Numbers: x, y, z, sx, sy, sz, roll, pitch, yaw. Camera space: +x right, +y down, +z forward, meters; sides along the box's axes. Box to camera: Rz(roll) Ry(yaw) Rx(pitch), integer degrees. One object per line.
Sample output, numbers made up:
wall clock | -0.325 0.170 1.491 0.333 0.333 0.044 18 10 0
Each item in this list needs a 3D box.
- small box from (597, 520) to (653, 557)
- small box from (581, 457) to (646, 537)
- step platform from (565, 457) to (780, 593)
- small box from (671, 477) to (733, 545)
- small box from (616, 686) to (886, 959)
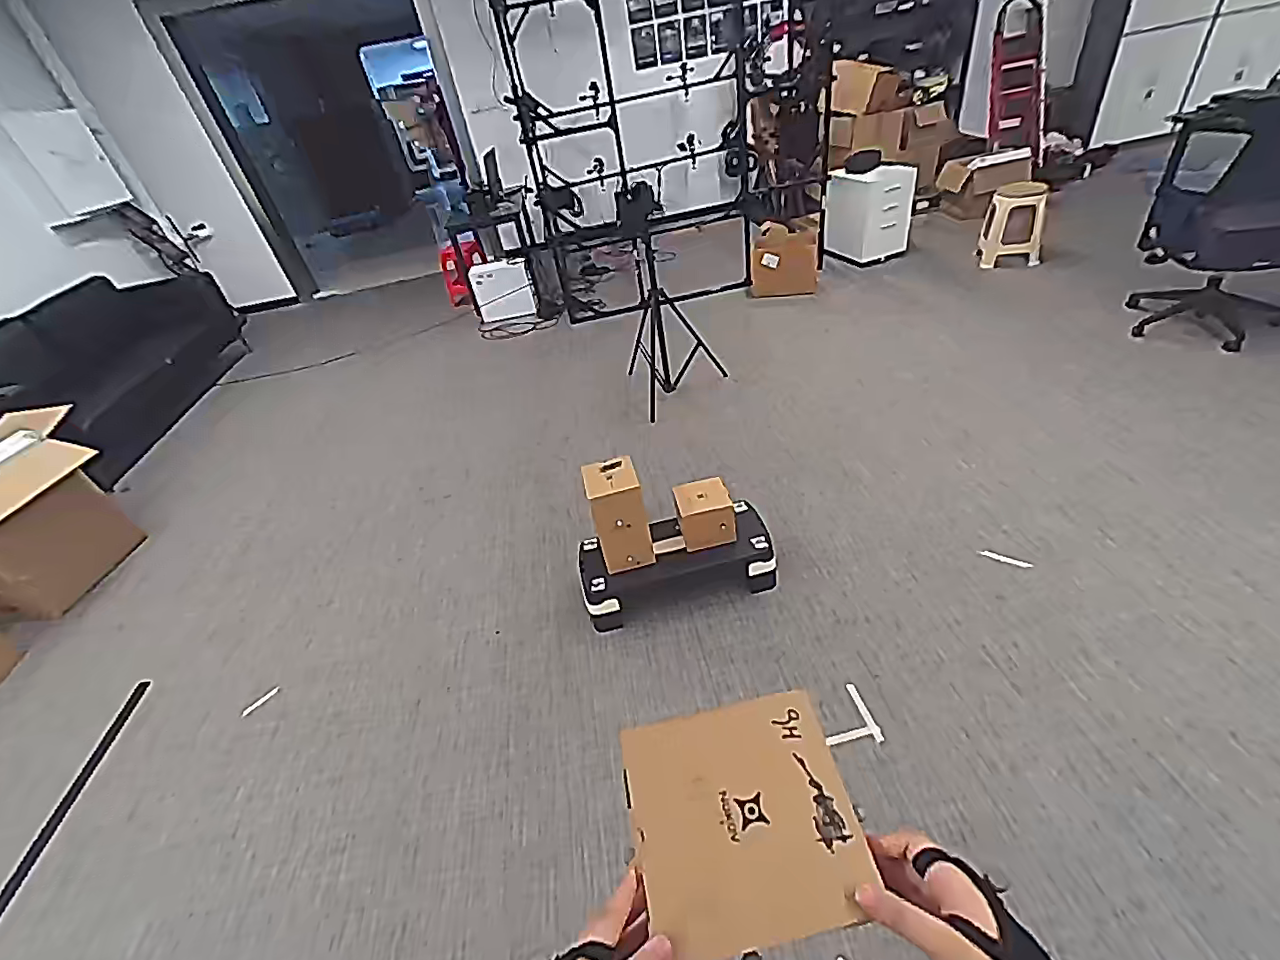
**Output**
small box | -0.057 0.186 1.839 0.168 0.176 0.179 -14 37 -3
small box | -0.086 0.055 1.744 0.168 0.176 0.179 -15 38 -4
step platform | 0.106 0.148 1.788 0.684 0.204 0.286 -13 37 -3
small box | 0.216 0.120 1.854 0.179 0.176 0.168 -14 37 -3
small box | 0.085 0.314 0.487 0.179 0.176 0.168 -12 47 -3
